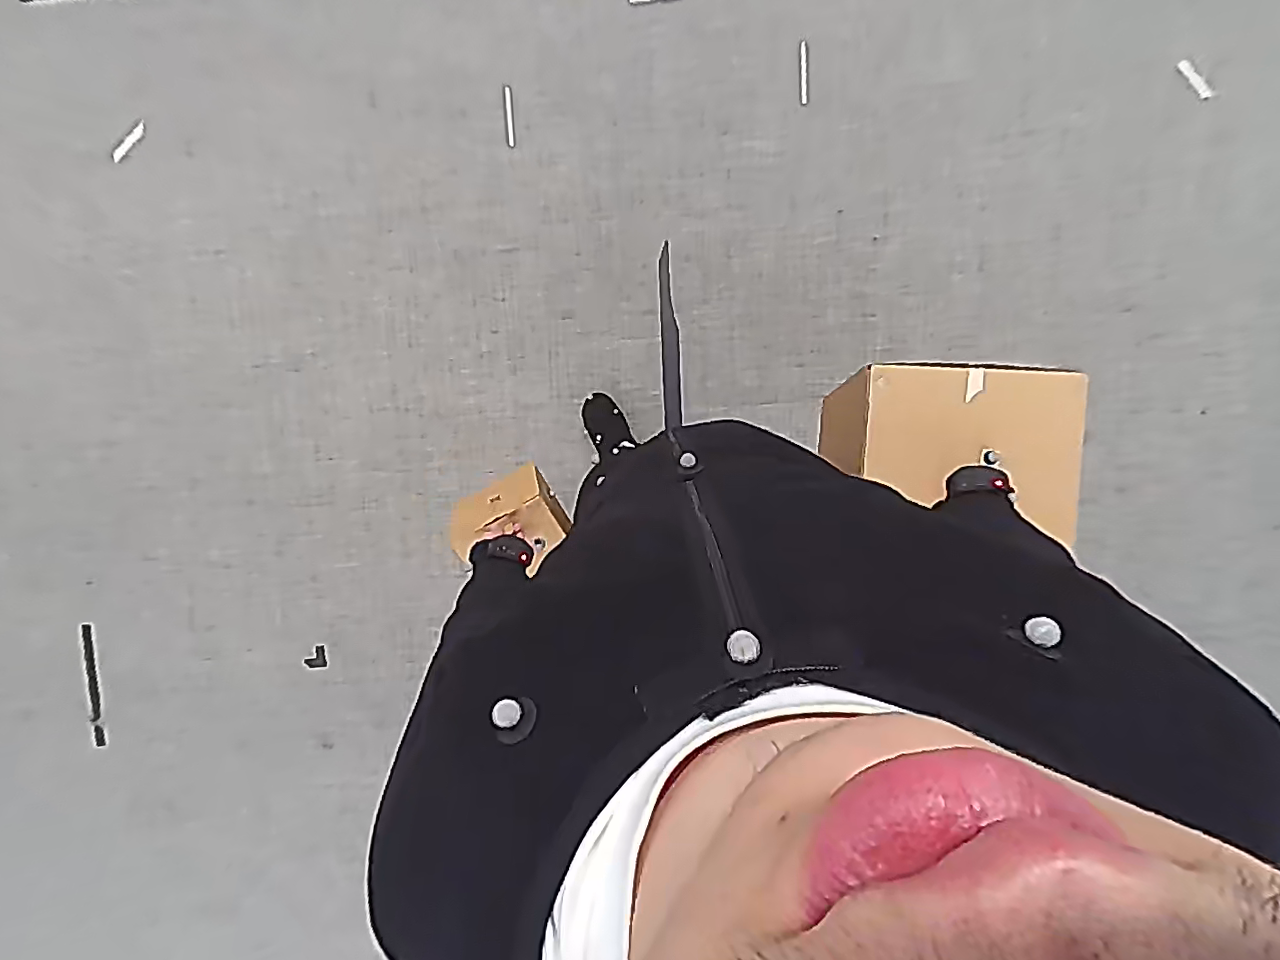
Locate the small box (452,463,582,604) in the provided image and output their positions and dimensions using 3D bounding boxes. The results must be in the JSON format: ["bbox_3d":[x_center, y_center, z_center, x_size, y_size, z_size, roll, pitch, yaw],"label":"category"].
[{"bbox_3d":[-0.218,0.100,0.984,0.168,0.179,0.176,-29,113,-3],"label":"small box"}]
